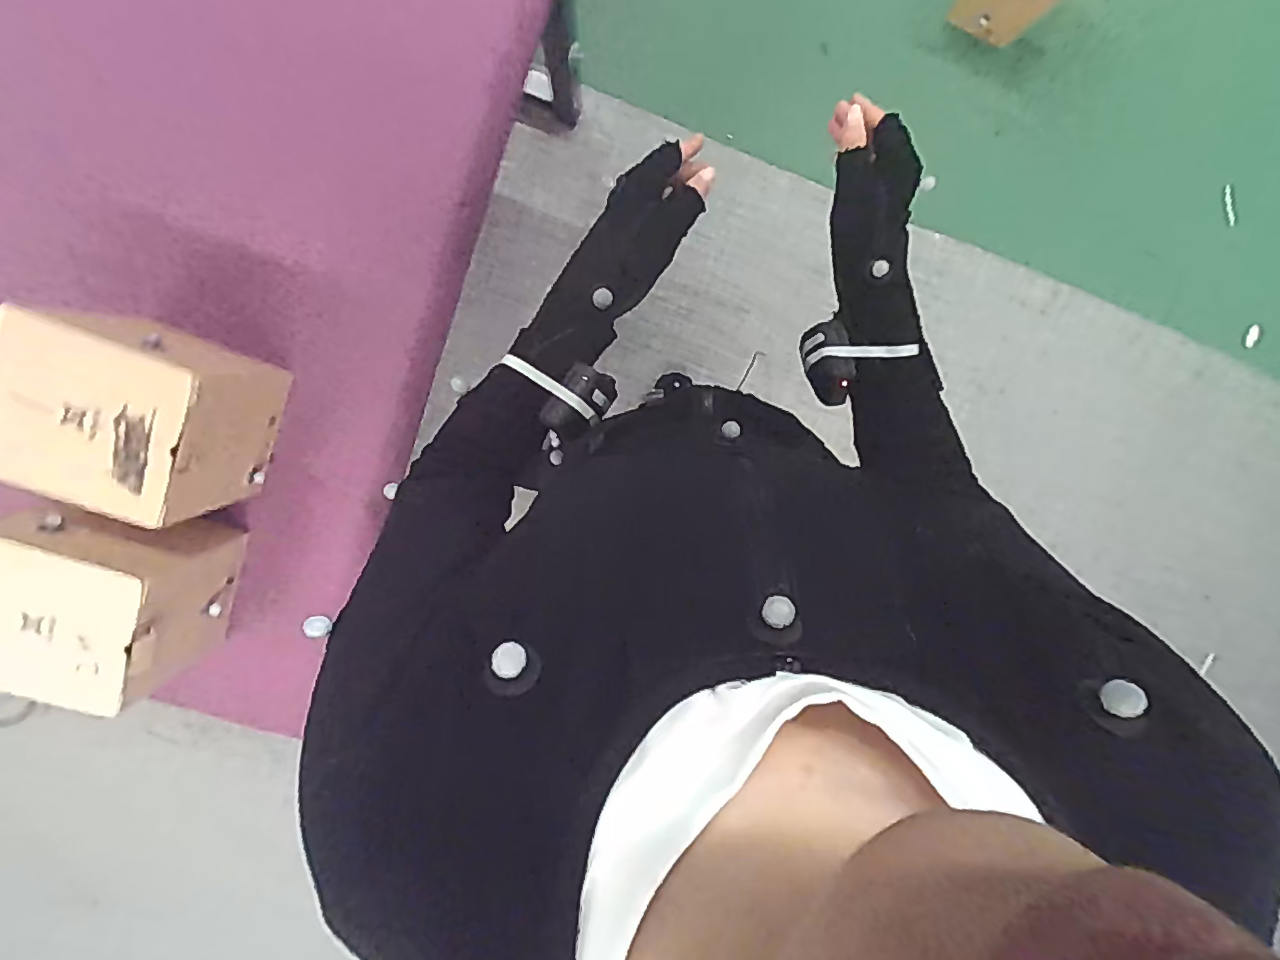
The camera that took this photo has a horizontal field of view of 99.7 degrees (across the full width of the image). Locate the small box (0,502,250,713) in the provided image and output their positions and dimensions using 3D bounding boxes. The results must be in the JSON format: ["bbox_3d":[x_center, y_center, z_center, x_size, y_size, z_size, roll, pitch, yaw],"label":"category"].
[{"bbox_3d":[-0.611,0.131,0.630,0.179,0.176,0.168,19,99,-8],"label":"small box"}]

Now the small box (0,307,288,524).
[{"bbox_3d":[-0.534,-0.073,0.597,0.179,0.176,0.168,20,99,-7],"label":"small box"}]

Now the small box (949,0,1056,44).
[{"bbox_3d":[0.846,-1.156,1.226,0.168,0.176,0.179,19,100,-7],"label":"small box"}]
